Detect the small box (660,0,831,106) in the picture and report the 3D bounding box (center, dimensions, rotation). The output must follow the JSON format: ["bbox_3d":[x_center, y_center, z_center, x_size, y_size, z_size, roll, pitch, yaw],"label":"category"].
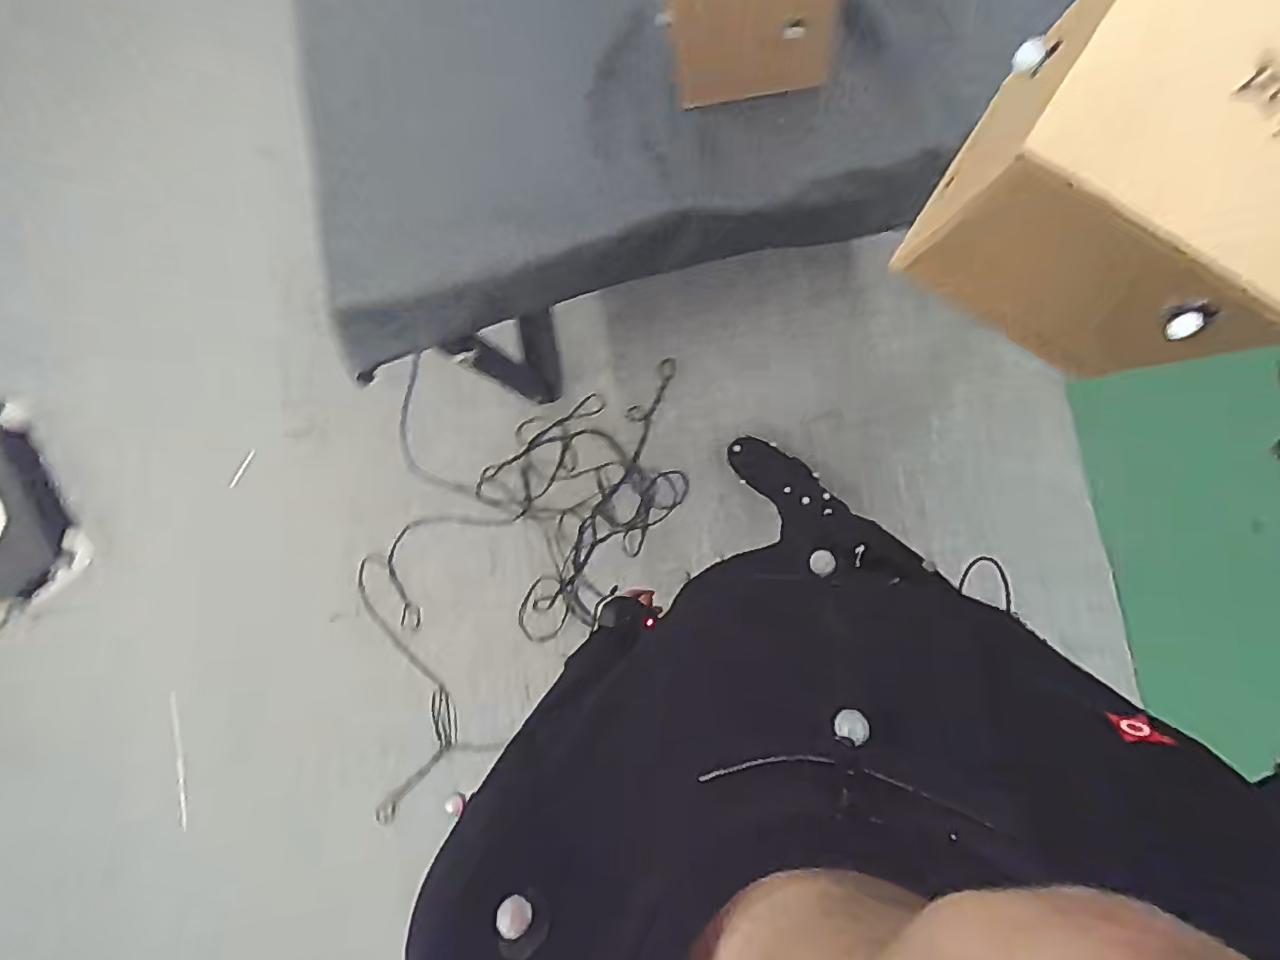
[{"bbox_3d":[0.115,-0.560,0.596,0.179,0.176,0.168,-3,84,11],"label":"small box"}]
